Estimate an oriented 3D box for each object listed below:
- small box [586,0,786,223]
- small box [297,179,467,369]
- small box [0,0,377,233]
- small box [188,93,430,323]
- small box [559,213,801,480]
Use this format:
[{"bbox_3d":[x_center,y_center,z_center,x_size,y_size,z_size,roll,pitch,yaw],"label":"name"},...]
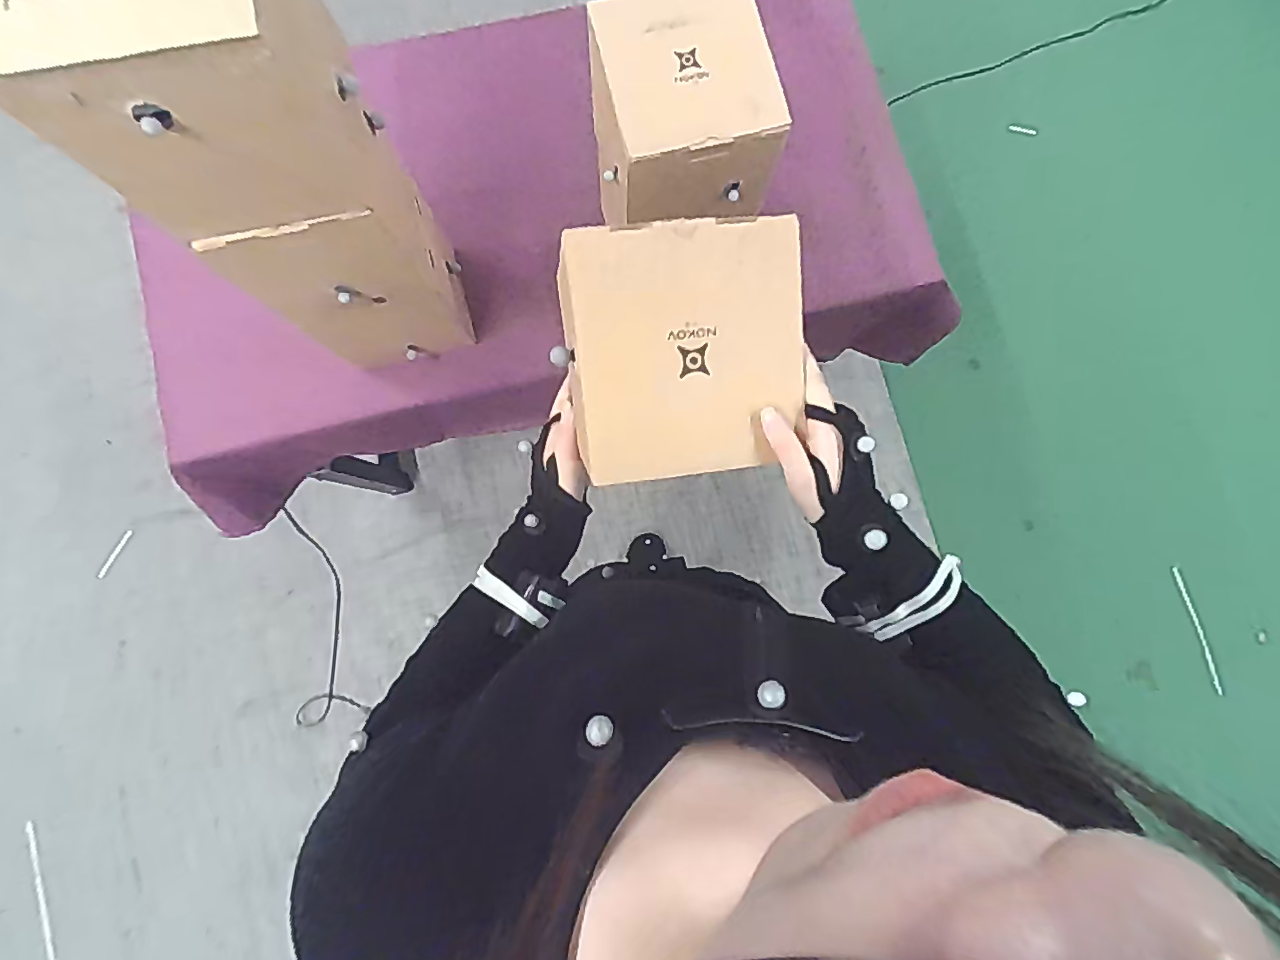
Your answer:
[{"bbox_3d":[0.043,-0.392,0.607,0.168,0.176,0.179,-14,83,-4],"label":"small box"},{"bbox_3d":[-0.352,-0.271,0.745,0.179,0.176,0.168,-16,83,-5],"label":"small box"},{"bbox_3d":[-0.337,-0.319,0.419,0.179,0.176,0.168,-12,83,-4],"label":"small box"},{"bbox_3d":[-0.347,-0.296,0.581,0.168,0.176,0.179,-14,84,-3],"label":"small box"},{"bbox_3d":[0.023,-0.109,0.461,0.168,0.176,0.179,-8,102,-8],"label":"small box"}]
